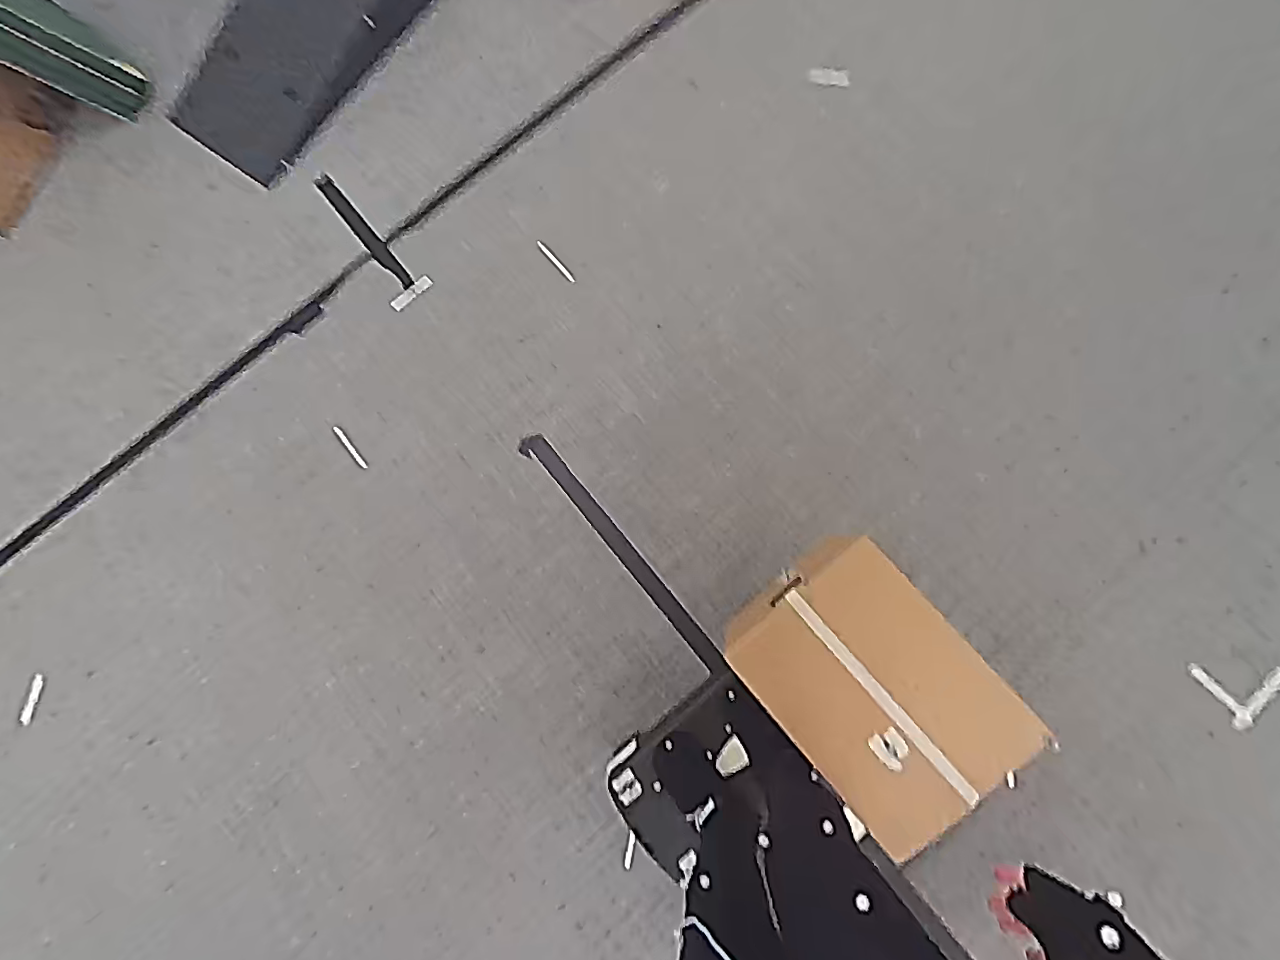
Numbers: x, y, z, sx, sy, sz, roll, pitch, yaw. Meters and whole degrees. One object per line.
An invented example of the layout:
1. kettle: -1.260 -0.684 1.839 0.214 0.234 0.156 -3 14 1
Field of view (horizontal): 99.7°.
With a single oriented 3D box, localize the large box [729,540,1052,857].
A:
1. large box: 0.412 0.358 1.013 0.320 0.320 0.408 -42 80 4
